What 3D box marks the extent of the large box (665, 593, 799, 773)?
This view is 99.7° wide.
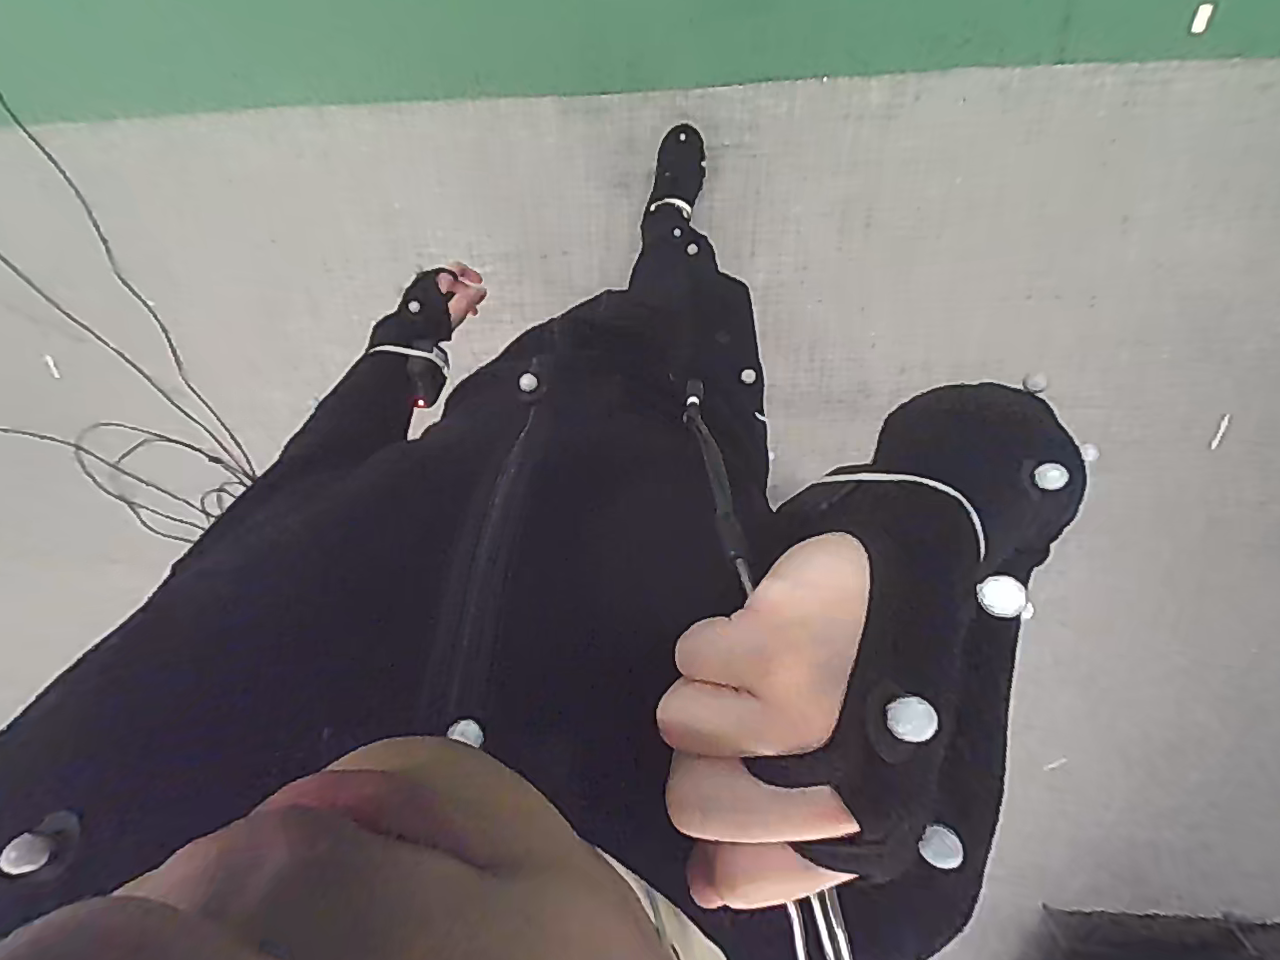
[{"bbox_3d":[0.250,0.597,1.619,0.320,0.320,0.408,7,116,0],"label":"large box"}]
